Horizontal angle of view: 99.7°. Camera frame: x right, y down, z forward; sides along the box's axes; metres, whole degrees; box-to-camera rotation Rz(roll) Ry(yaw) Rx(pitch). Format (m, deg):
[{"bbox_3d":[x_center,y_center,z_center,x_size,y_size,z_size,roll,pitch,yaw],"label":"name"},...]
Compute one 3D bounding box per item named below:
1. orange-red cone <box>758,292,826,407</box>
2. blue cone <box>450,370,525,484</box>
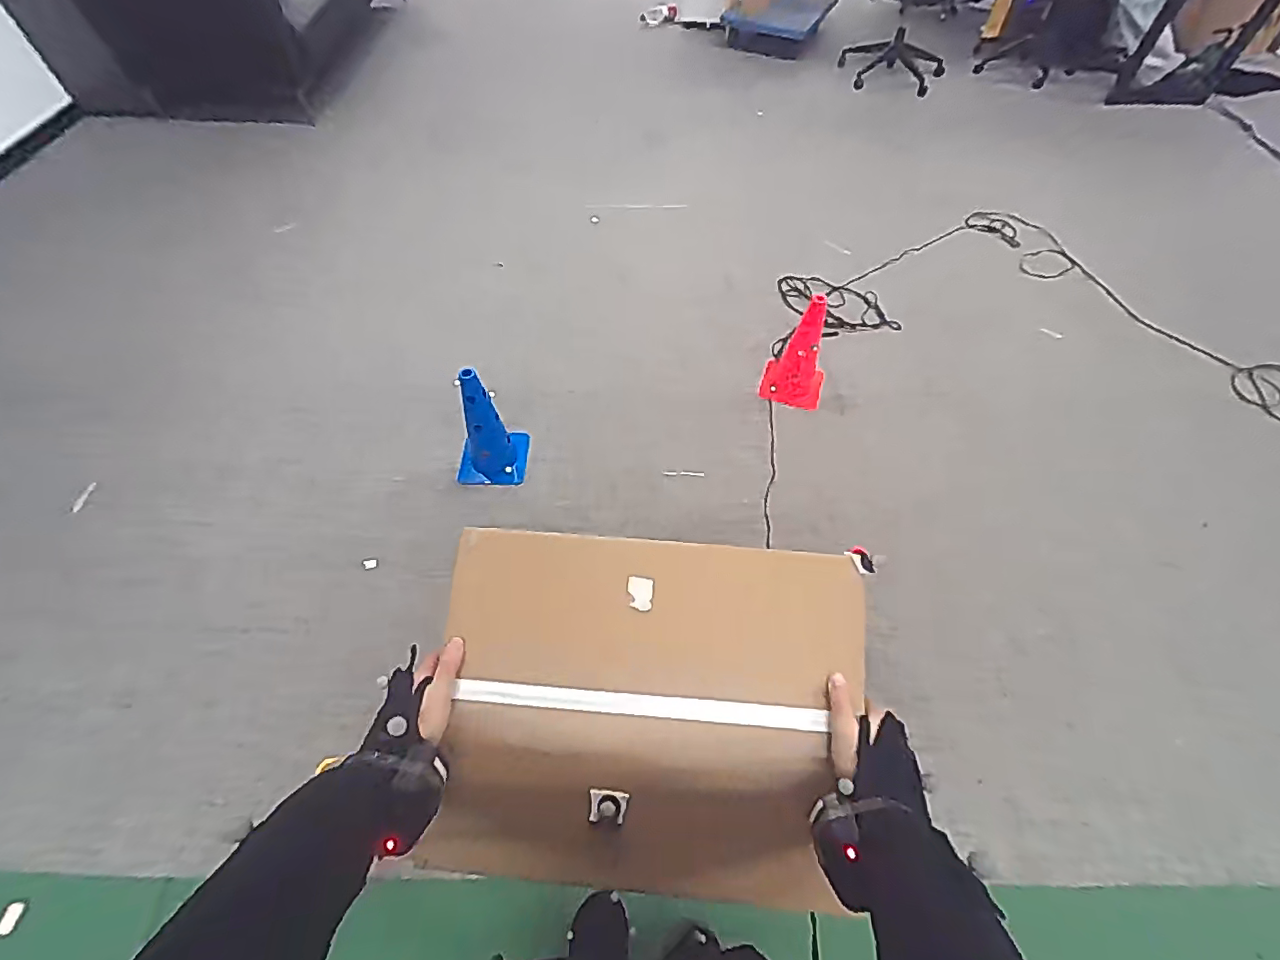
[{"bbox_3d":[0.520,-0.434,1.705,0.199,0.360,0.198,18,57,11],"label":"orange-red cone"},{"bbox_3d":[-0.456,-0.163,1.533,0.192,0.380,0.193,1,54,1],"label":"blue cone"}]
